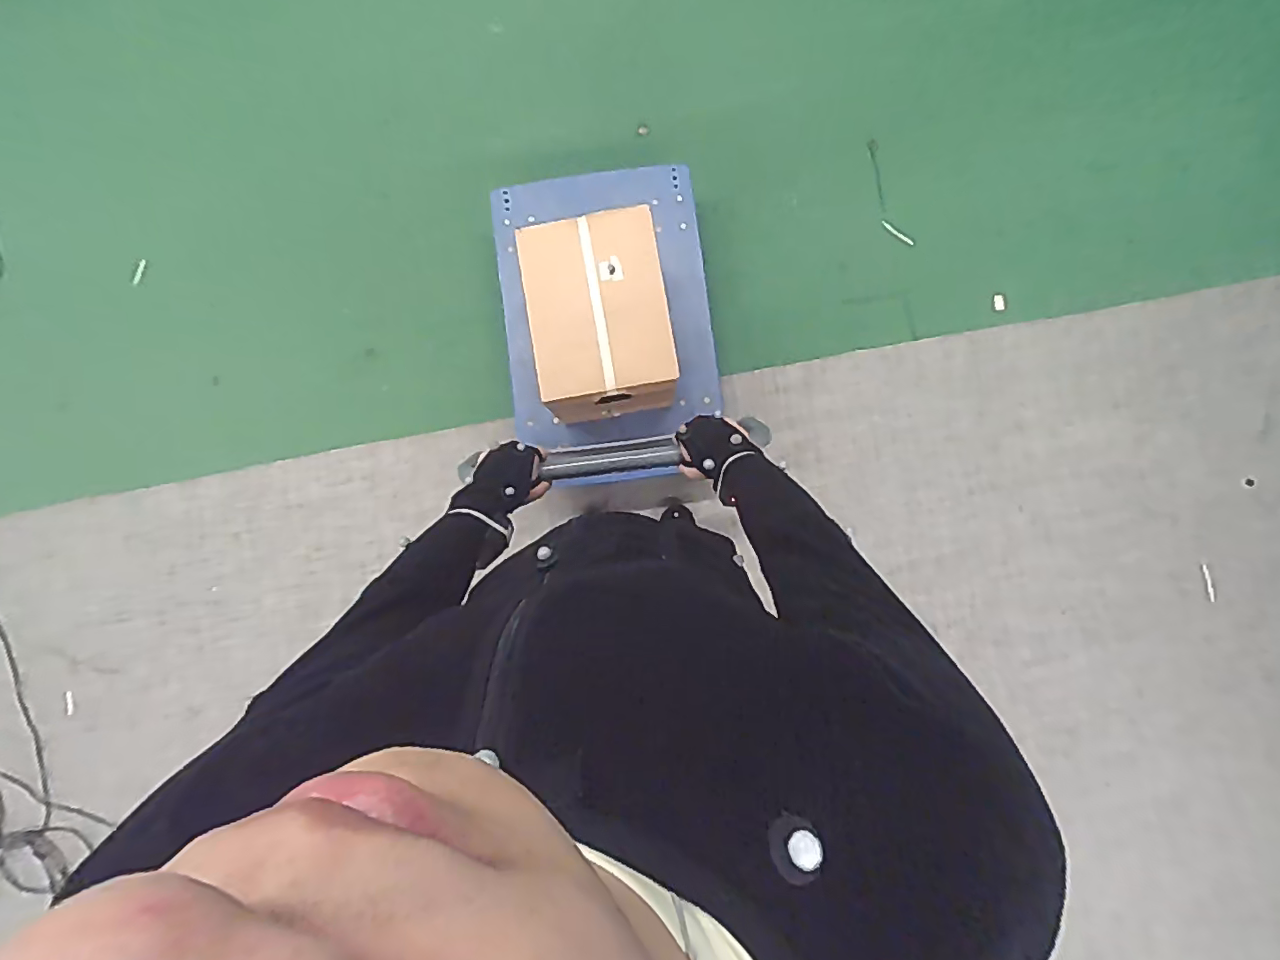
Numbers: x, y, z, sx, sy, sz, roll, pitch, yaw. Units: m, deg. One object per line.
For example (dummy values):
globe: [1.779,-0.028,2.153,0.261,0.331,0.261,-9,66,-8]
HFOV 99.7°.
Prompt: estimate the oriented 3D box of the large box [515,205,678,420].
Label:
large box: [-0.093,-0.394,1.360,0.320,0.320,0.408,-10,87,1]
